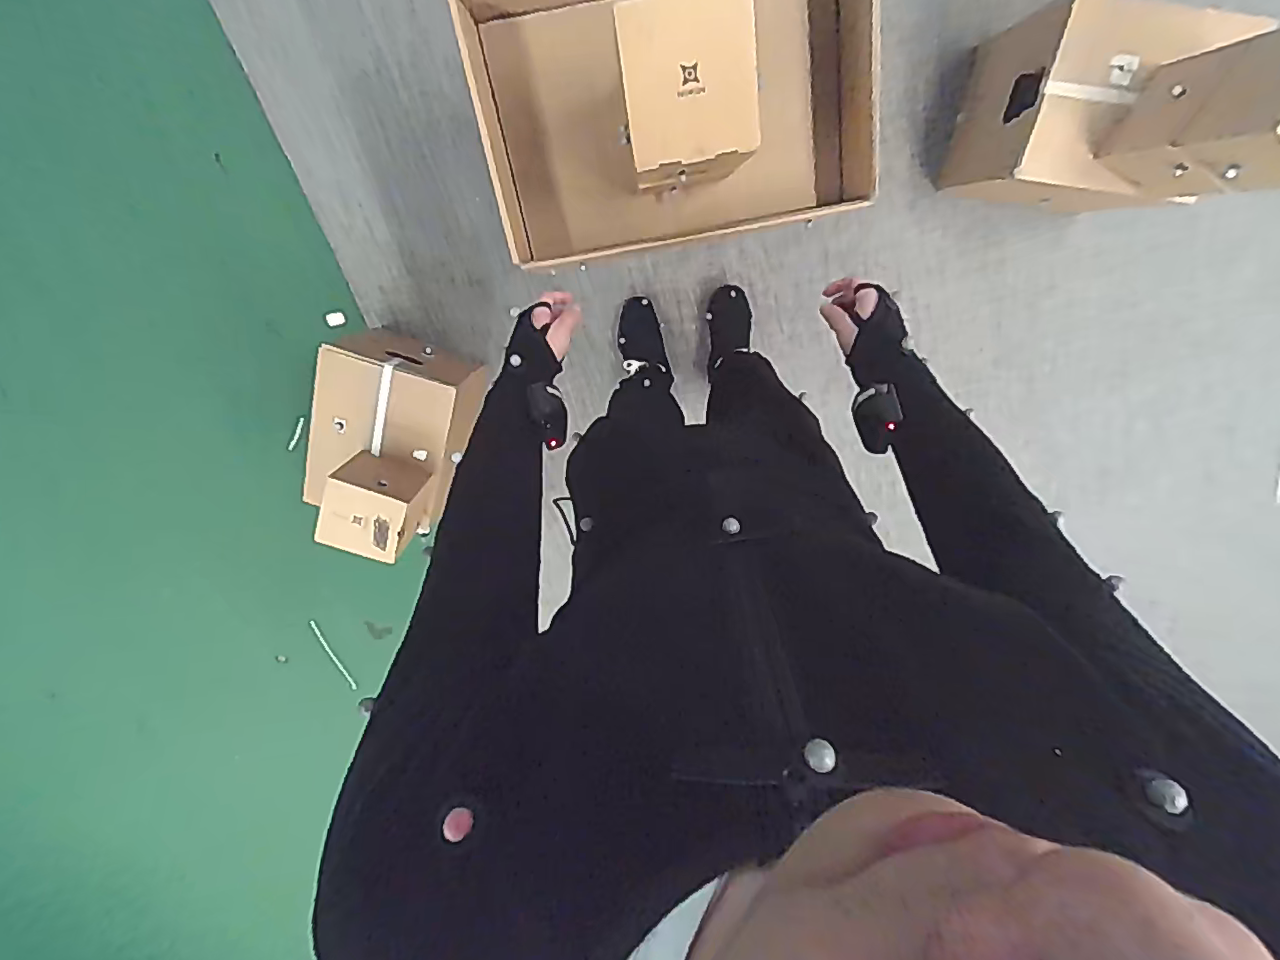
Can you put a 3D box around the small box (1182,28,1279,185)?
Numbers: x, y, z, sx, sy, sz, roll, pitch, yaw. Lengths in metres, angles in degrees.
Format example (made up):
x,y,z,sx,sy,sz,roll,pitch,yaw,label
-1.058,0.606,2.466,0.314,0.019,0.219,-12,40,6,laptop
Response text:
x,y,z,sx,sy,sz,roll,pitch,yaw,label
1.026,-0.585,0.836,0.168,0.176,0.179,23,112,-11,small box

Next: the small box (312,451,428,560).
x,y,z,sx,sy,sz,roll,pitch,yaw,label
-0.607,0.052,1.236,0.179,0.176,0.168,20,110,-10,small box

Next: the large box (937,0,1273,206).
x,y,z,sx,sy,sz,roll,pitch,yaw,label
0.966,-0.800,1.190,0.408,0.320,0.320,6,112,-3,large box

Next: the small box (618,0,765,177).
x,y,z,sx,sy,sz,roll,pitch,yaw,label
0.064,-0.525,0.724,0.168,0.176,0.179,-8,114,3,small box

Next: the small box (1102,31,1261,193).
x,y,z,sx,sy,sz,roll,pitch,yaw,label
1.019,-0.653,0.987,0.168,0.176,0.179,24,111,-11,small box
